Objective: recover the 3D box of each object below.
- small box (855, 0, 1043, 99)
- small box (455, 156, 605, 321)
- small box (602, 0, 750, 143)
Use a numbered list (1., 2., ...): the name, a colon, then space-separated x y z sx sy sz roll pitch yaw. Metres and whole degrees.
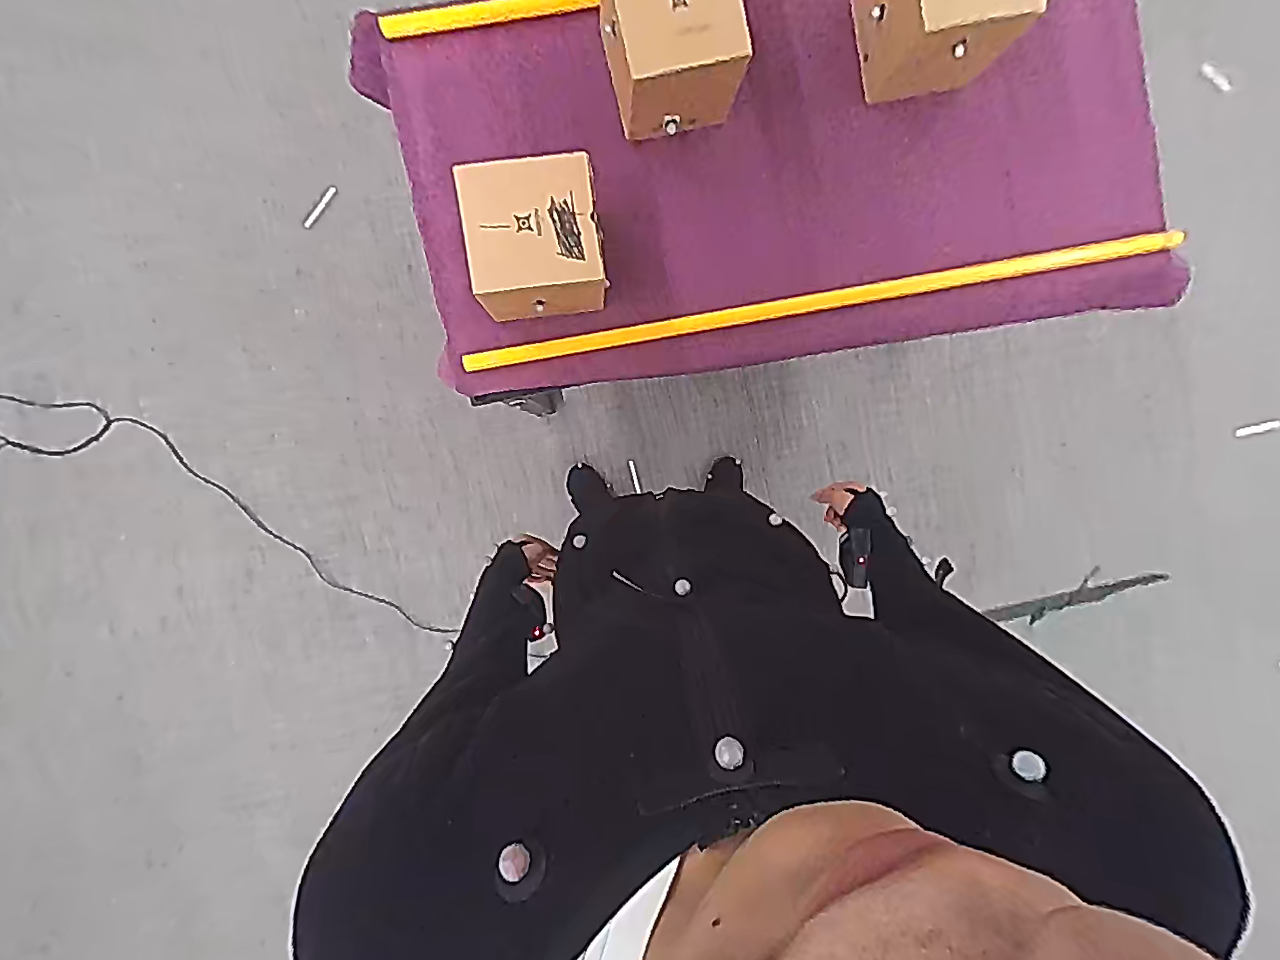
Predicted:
1. small box: 0.436 -0.700 0.794 0.179 0.176 0.168 -12 96 -3
2. small box: -0.149 -0.336 0.781 0.179 0.176 0.168 -8 95 -4
3. small box: 0.041 -0.629 0.775 0.168 0.176 0.179 -14 96 -2
